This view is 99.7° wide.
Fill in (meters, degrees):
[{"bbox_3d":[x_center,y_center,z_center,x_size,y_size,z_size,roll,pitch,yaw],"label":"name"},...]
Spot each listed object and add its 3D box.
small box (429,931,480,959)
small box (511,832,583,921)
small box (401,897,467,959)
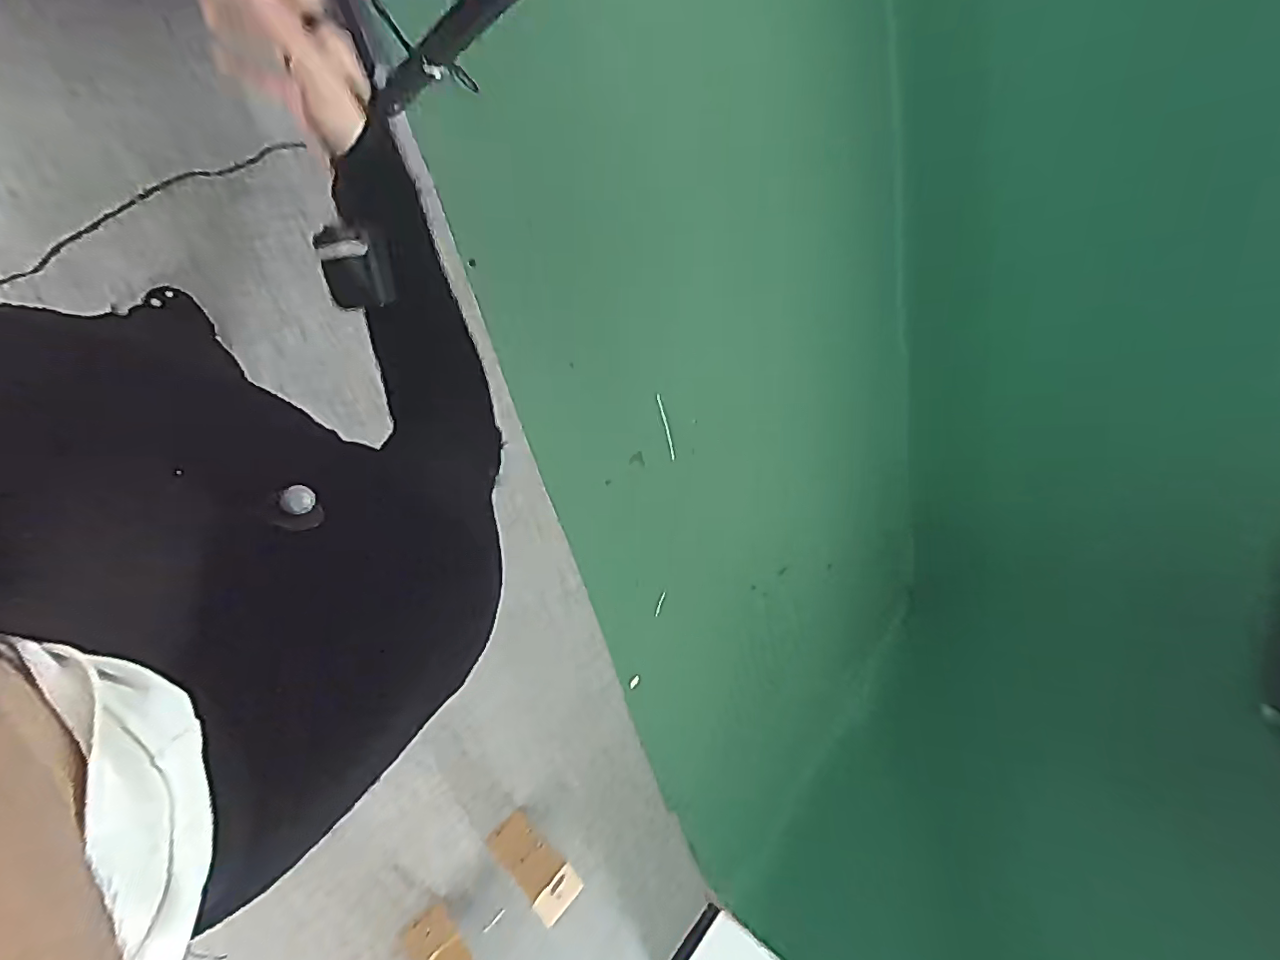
[{"bbox_3d":[-0.604,1.649,1.765,0.179,0.176,0.168,-28,117,-37],"label":"small box"},{"bbox_3d":[-0.340,1.429,1.964,0.168,0.176,0.179,-37,123,-32],"label":"small box"},{"bbox_3d":[-0.709,1.612,1.884,0.168,0.176,0.179,-26,115,-36],"label":"small box"}]
